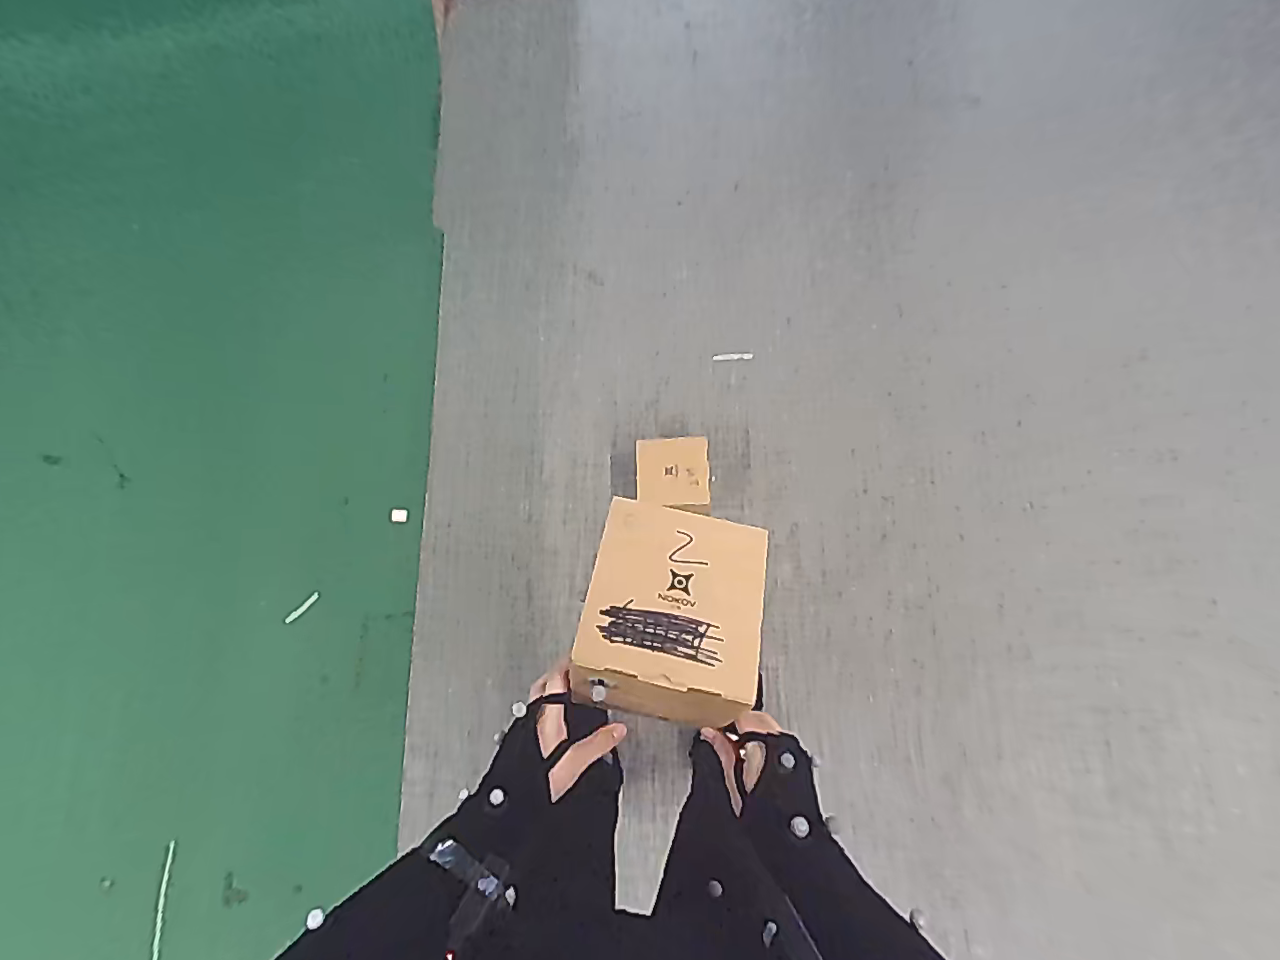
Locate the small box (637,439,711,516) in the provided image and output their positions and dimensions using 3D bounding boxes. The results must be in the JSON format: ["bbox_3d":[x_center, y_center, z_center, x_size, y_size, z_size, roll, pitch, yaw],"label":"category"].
[{"bbox_3d":[0.091,-0.002,1.378,0.179,0.176,0.168,-2,78,7],"label":"small box"}]
